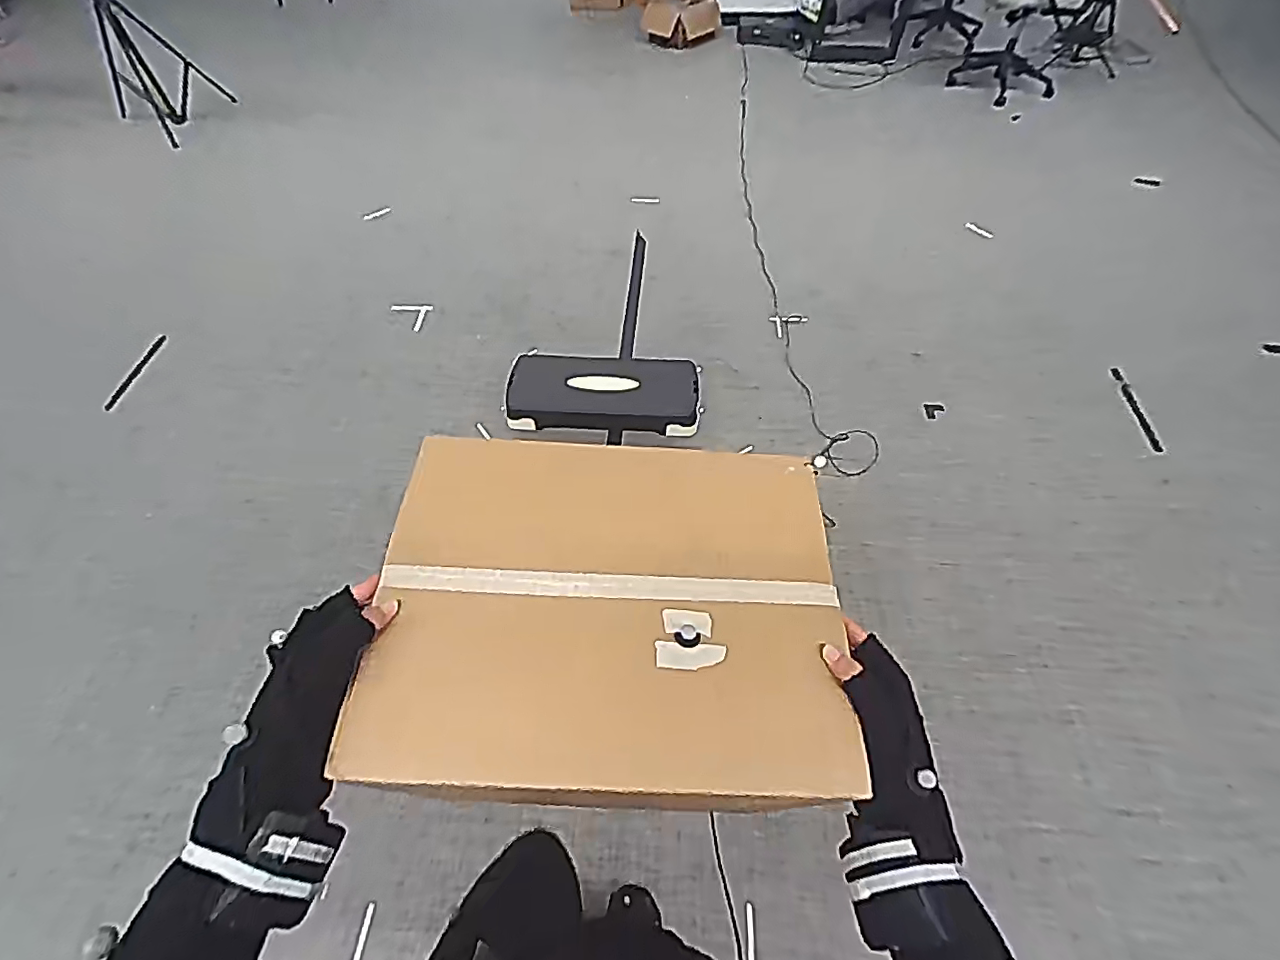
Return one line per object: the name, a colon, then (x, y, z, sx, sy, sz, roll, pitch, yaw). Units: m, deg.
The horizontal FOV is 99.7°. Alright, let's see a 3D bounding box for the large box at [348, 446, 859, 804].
large box: (-0.032, 0.181, 0.620, 0.408, 0.320, 0.320, 3, 57, -2)
